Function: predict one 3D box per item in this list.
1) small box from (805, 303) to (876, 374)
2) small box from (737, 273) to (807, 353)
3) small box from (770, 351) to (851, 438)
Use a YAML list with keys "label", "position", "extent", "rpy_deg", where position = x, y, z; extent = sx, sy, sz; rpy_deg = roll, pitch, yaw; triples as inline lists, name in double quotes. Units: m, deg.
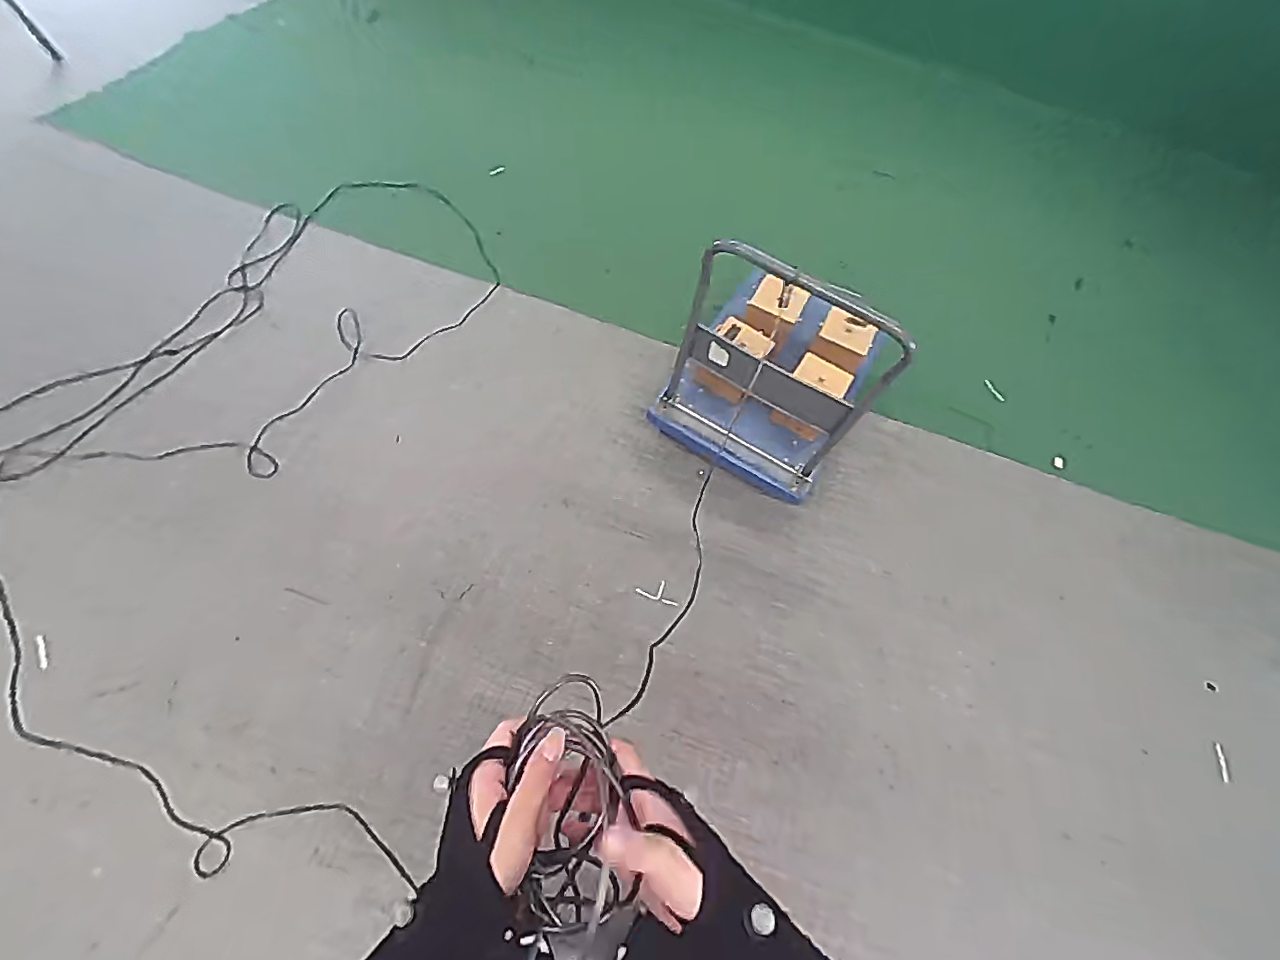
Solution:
- label: "small box"
  position: [0.680, -0.468, 1.867]
  extent: [0.168, 0.176, 0.179]
  rpy_deg: [27, 62, 8]
- label: "small box"
  position: [0.456, -0.581, 1.898]
  extent: [0.168, 0.176, 0.179]
  rpy_deg: [28, 61, 6]
- label: "small box"
  position: [0.543, -0.271, 1.741]
  extent: [0.168, 0.176, 0.179]
  rpy_deg: [31, 62, 9]
